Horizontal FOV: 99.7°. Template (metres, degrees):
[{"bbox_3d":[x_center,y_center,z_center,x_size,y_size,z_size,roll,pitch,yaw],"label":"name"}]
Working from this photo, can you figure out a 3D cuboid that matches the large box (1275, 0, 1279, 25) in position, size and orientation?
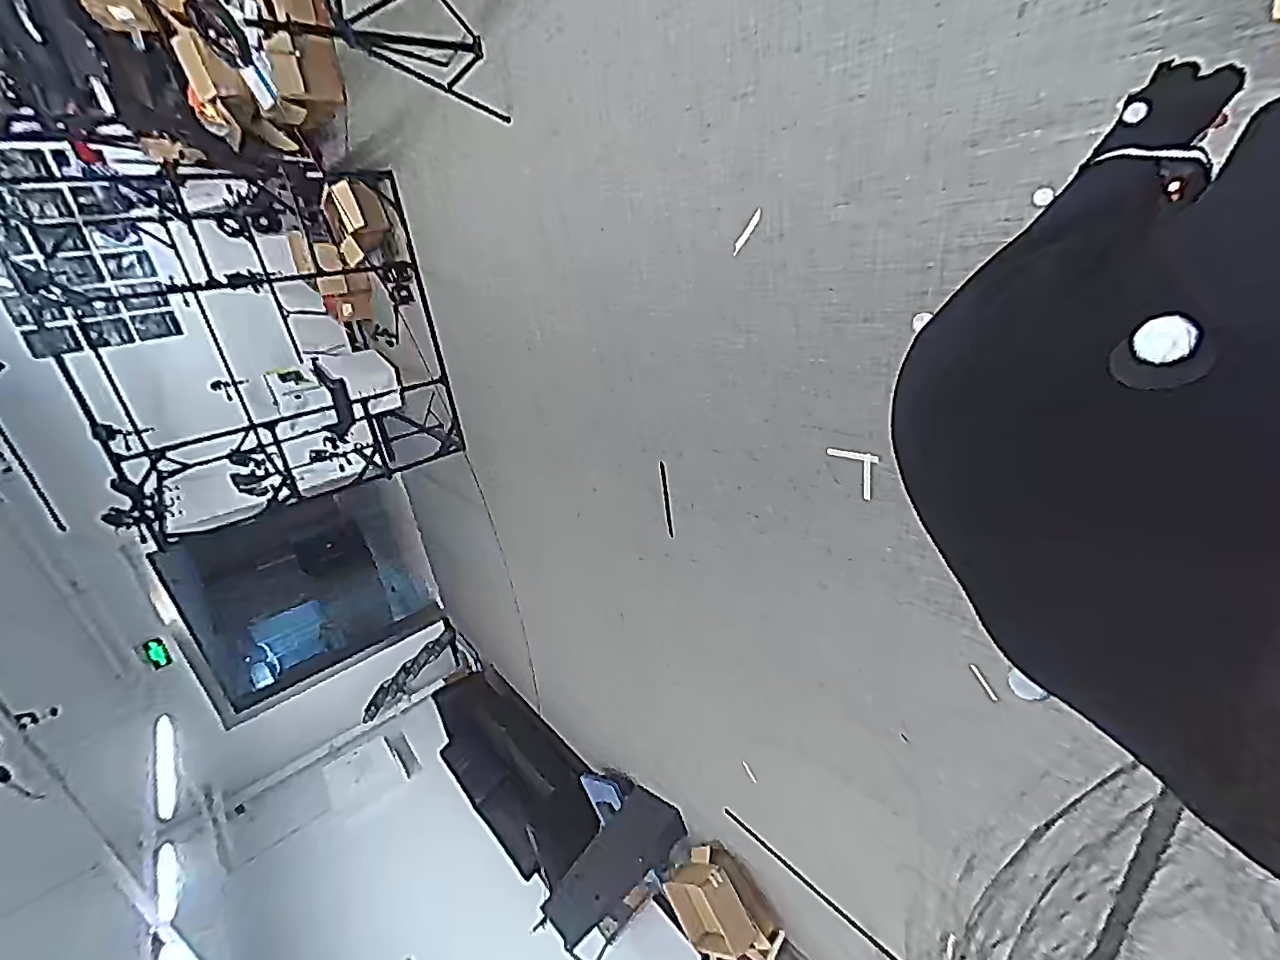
[{"bbox_3d":[1.033,-0.748,0.584,0.408,0.320,0.320,17,123,47],"label":"large box"}]
